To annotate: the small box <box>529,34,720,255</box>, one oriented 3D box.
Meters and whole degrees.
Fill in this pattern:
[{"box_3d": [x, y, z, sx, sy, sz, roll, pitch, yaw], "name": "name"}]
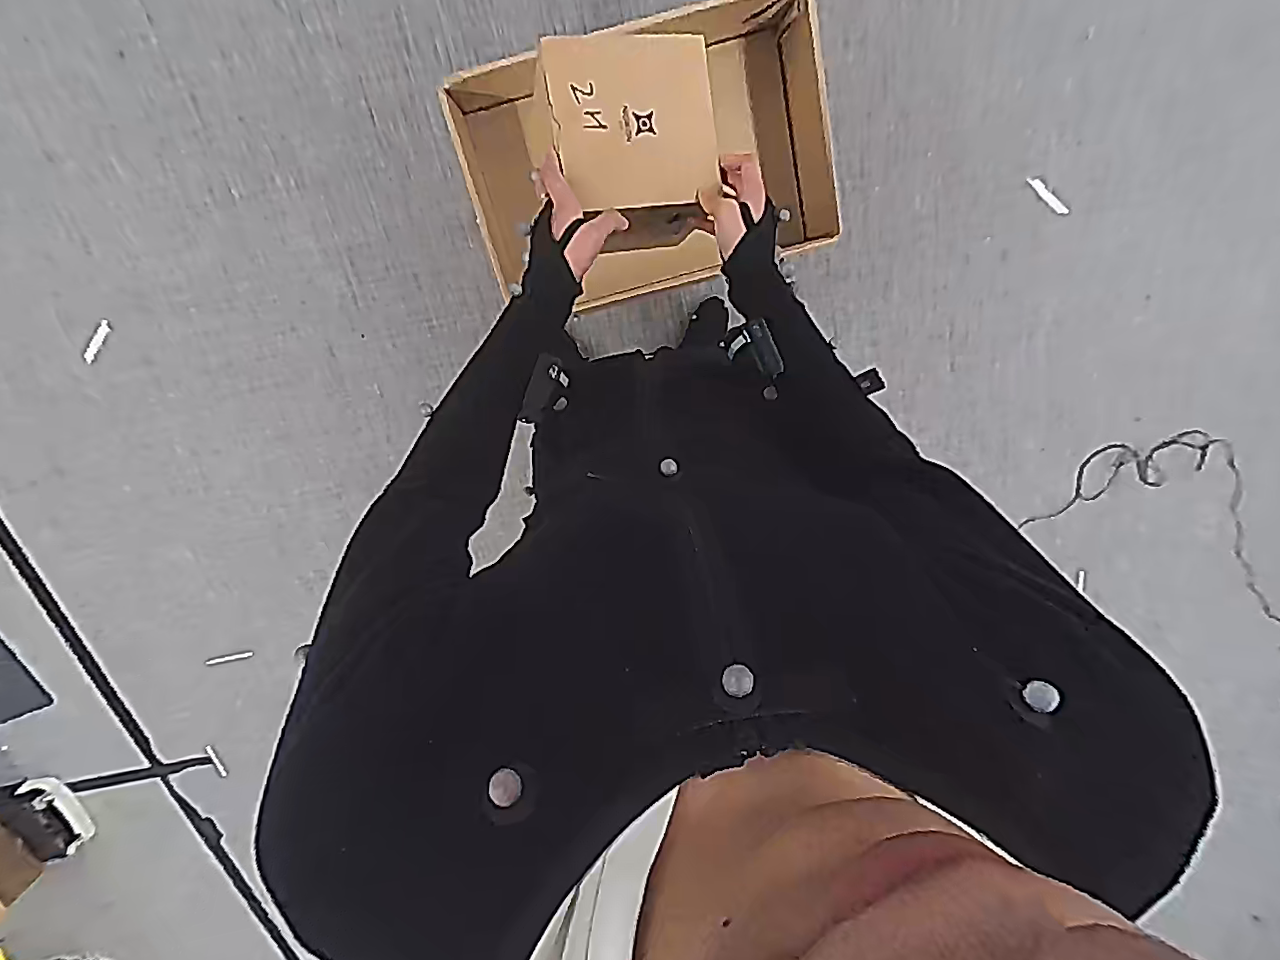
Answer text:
[{"box_3d": [-0.026, -0.375, 0.630, 0.179, 0.176, 0.168, -11, 100, -12], "name": "small box"}]
